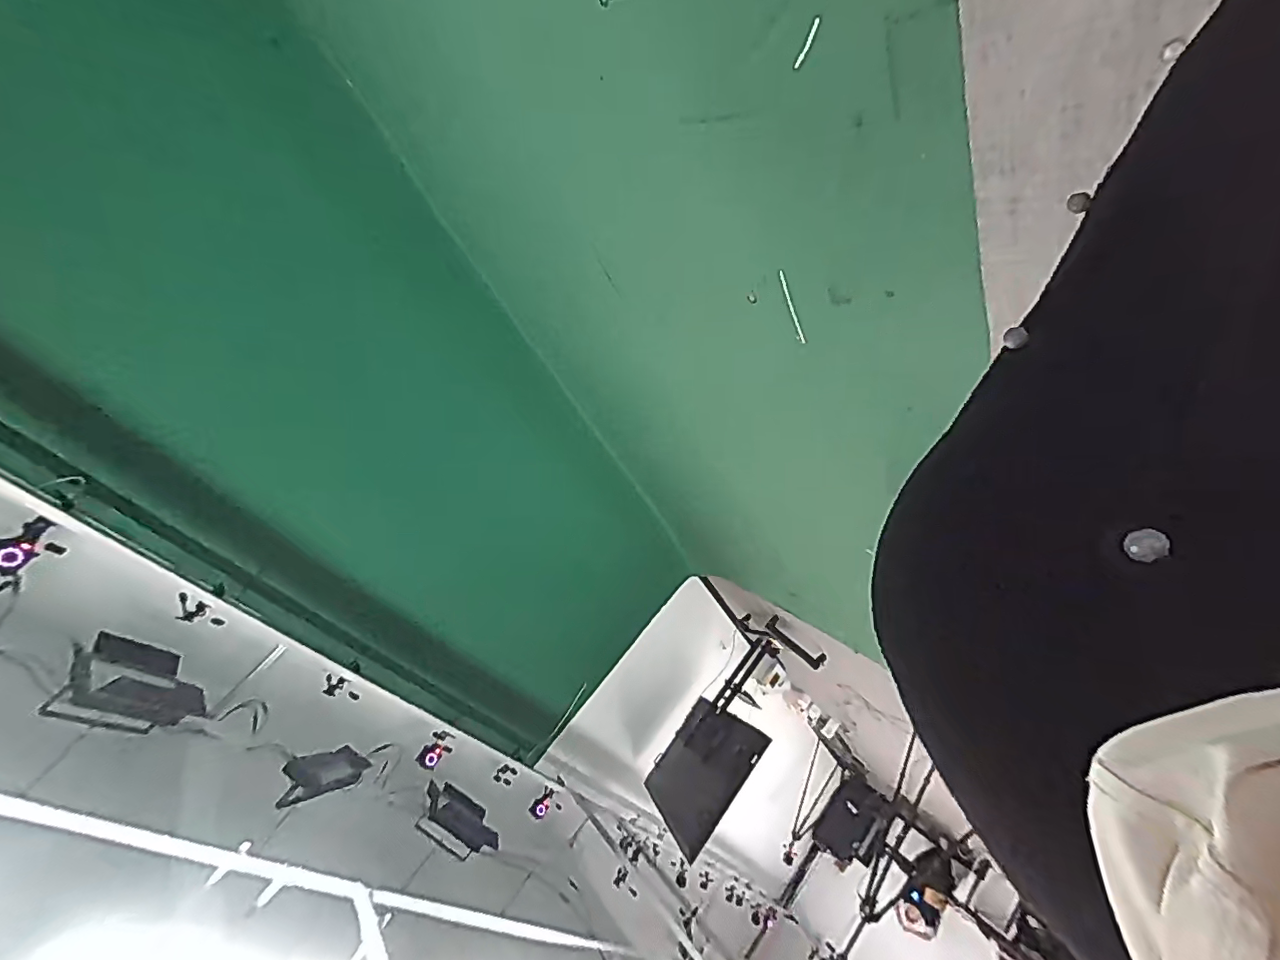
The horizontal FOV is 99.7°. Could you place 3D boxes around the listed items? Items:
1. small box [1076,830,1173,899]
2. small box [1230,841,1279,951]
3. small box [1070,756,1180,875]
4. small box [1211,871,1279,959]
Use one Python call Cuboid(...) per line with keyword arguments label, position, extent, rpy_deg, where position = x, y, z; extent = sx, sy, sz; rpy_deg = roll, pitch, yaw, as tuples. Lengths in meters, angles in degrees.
Cuboid(label="small box", position=(1.354, 1.016, 1.515), extent=(0.168, 0.176, 0.179), rpy_deg=(20, 152, 49))
Cuboid(label="small box", position=(1.393, 0.905, 1.132), extent=(0.168, 0.176, 0.179), rpy_deg=(21, 155, 49))
Cuboid(label="small box", position=(1.222, 0.842, 1.366), extent=(0.168, 0.176, 0.179), rpy_deg=(22, 155, 49))
Cuboid(label="small box", position=(1.528, 1.089, 1.301), extent=(0.168, 0.176, 0.179), rpy_deg=(22, 155, 49))
